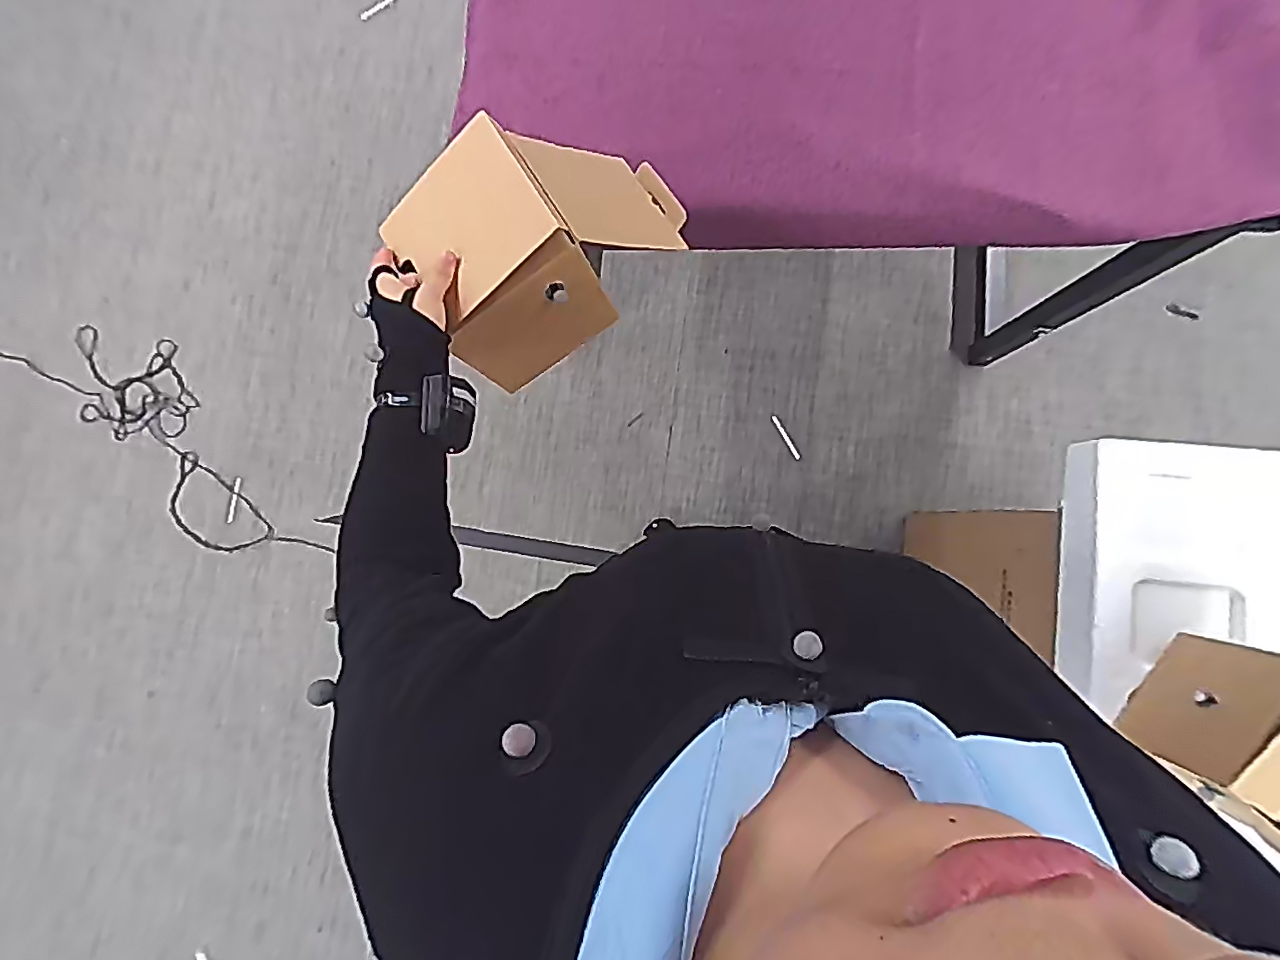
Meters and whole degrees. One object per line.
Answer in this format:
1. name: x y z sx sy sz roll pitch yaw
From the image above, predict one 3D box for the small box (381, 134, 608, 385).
1. small box: -0.154 -0.243 0.636 0.179 0.176 0.168 -33 74 6
